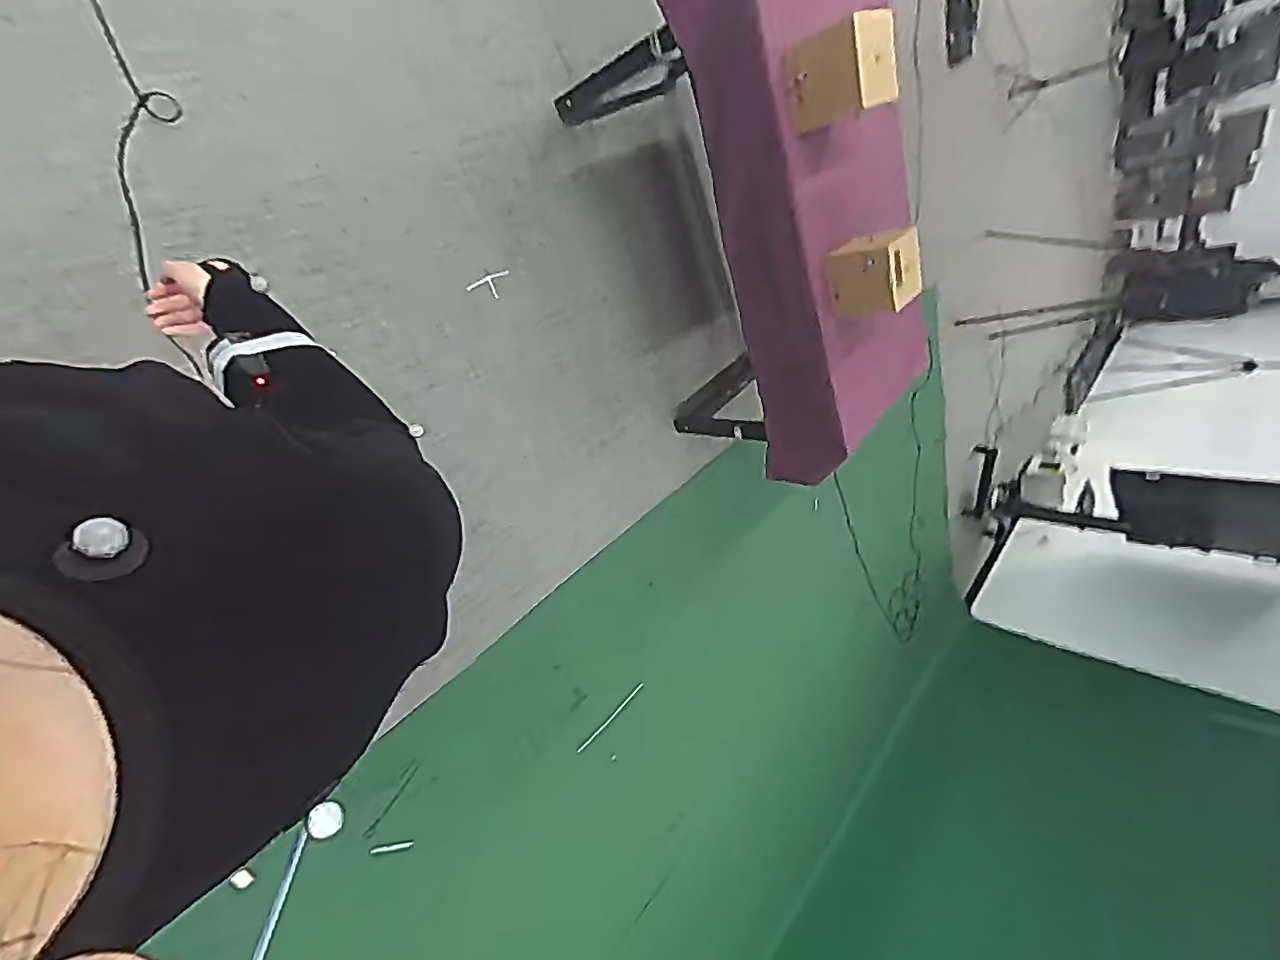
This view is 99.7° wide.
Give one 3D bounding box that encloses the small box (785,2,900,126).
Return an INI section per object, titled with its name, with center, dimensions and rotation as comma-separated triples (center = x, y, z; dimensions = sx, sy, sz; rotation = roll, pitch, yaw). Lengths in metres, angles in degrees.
[small box]
center = 0.445, -0.908, 1.187
dimensions = 0.179, 0.176, 0.168
rotation = -36, 119, -31
